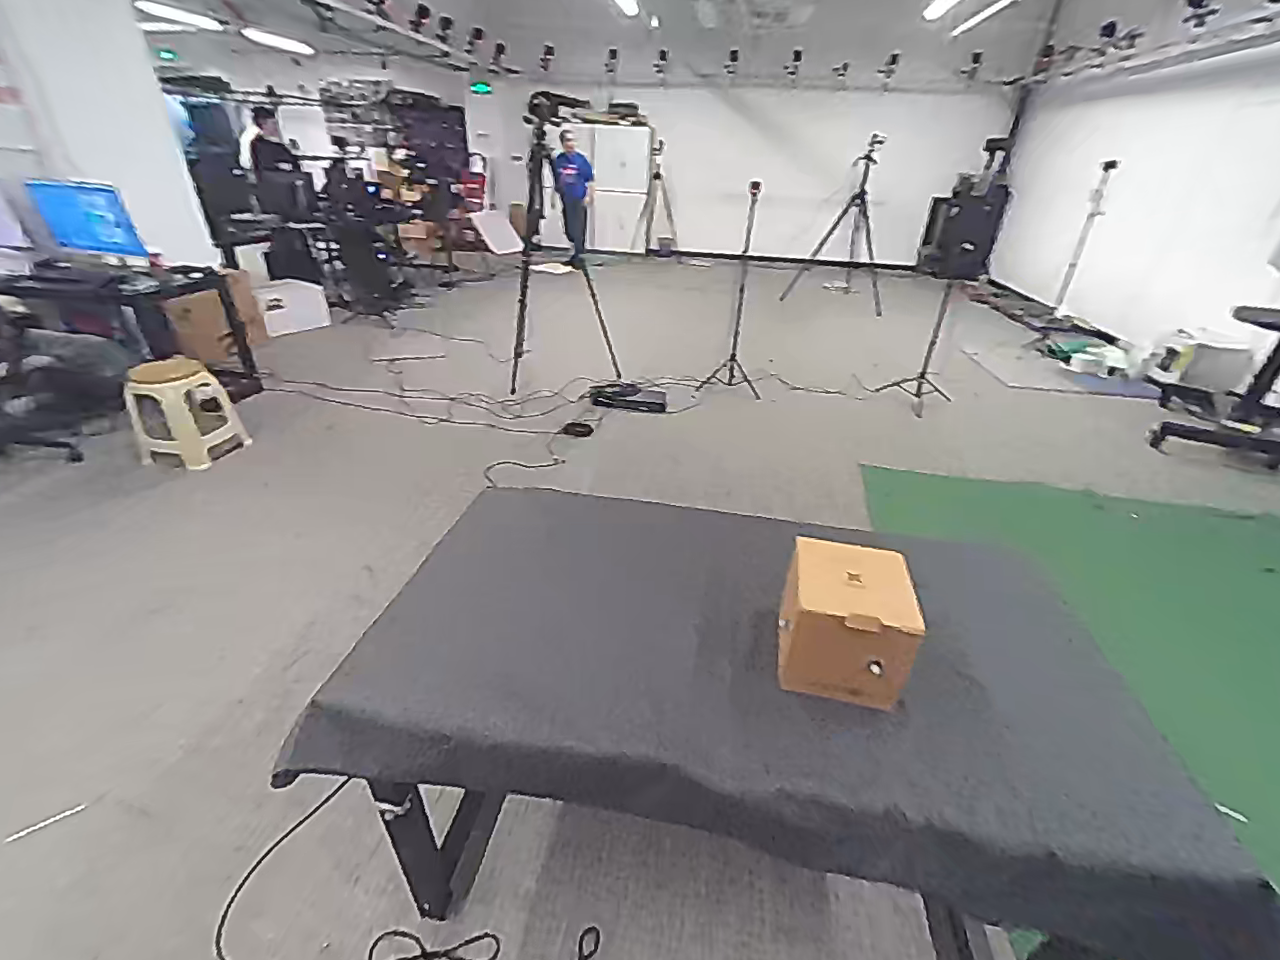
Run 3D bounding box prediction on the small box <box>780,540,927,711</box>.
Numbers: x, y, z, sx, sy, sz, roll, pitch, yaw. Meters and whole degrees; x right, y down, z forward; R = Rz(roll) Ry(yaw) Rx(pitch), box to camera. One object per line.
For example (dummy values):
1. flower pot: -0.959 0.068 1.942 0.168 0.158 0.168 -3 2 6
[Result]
1. small box: 0.314 0.221 0.832 0.168 0.176 0.179 9 30 10
